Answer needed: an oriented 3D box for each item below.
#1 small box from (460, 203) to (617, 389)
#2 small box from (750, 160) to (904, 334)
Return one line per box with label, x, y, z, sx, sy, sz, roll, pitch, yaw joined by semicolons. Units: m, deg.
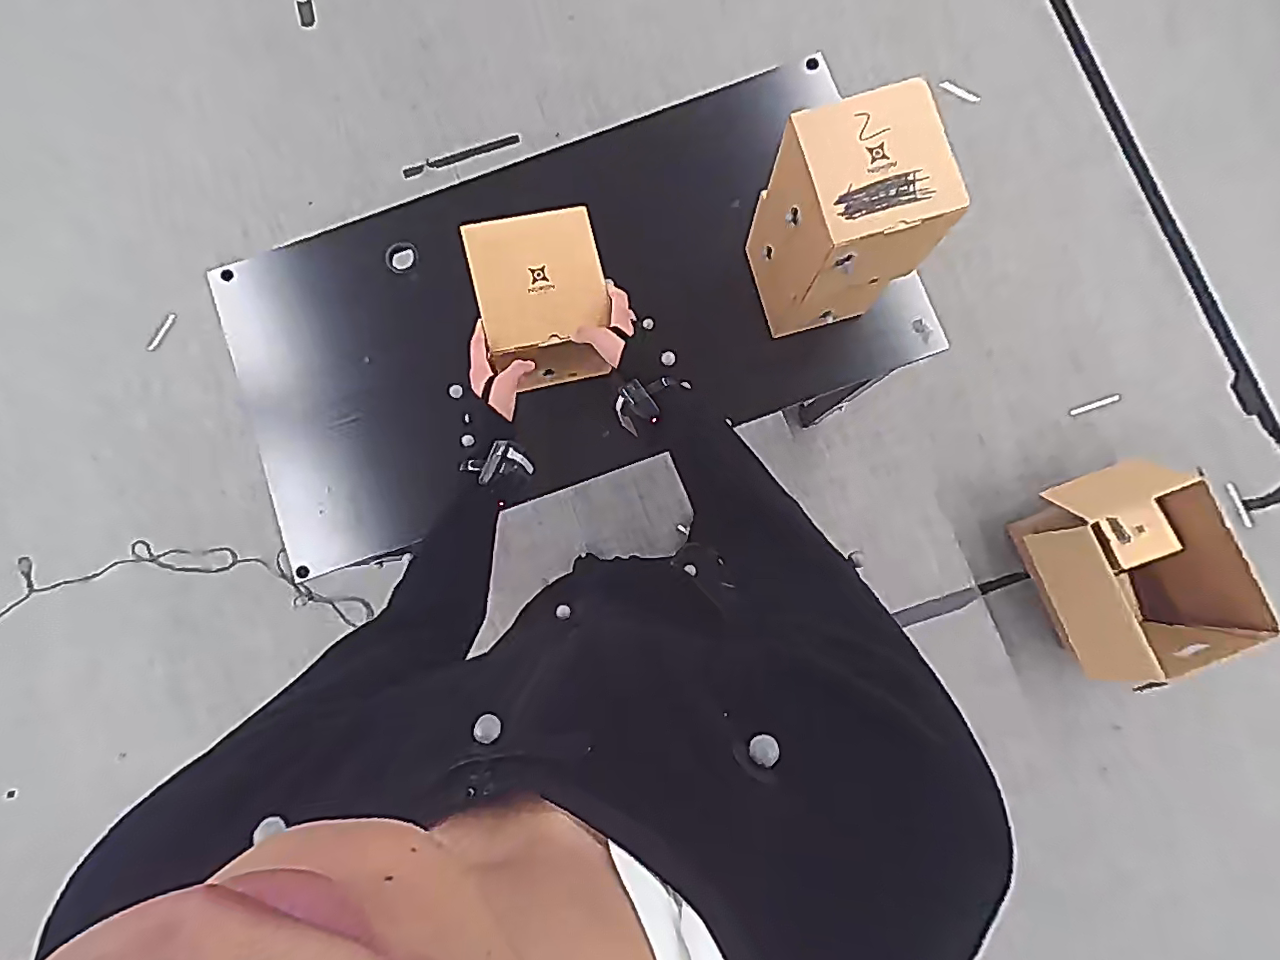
small box;-0.138;-0.247;0.756;0.168;0.176;0.179;-14;85;-8
small box;0.285;-0.361;0.865;0.168;0.176;0.179;-15;85;2
